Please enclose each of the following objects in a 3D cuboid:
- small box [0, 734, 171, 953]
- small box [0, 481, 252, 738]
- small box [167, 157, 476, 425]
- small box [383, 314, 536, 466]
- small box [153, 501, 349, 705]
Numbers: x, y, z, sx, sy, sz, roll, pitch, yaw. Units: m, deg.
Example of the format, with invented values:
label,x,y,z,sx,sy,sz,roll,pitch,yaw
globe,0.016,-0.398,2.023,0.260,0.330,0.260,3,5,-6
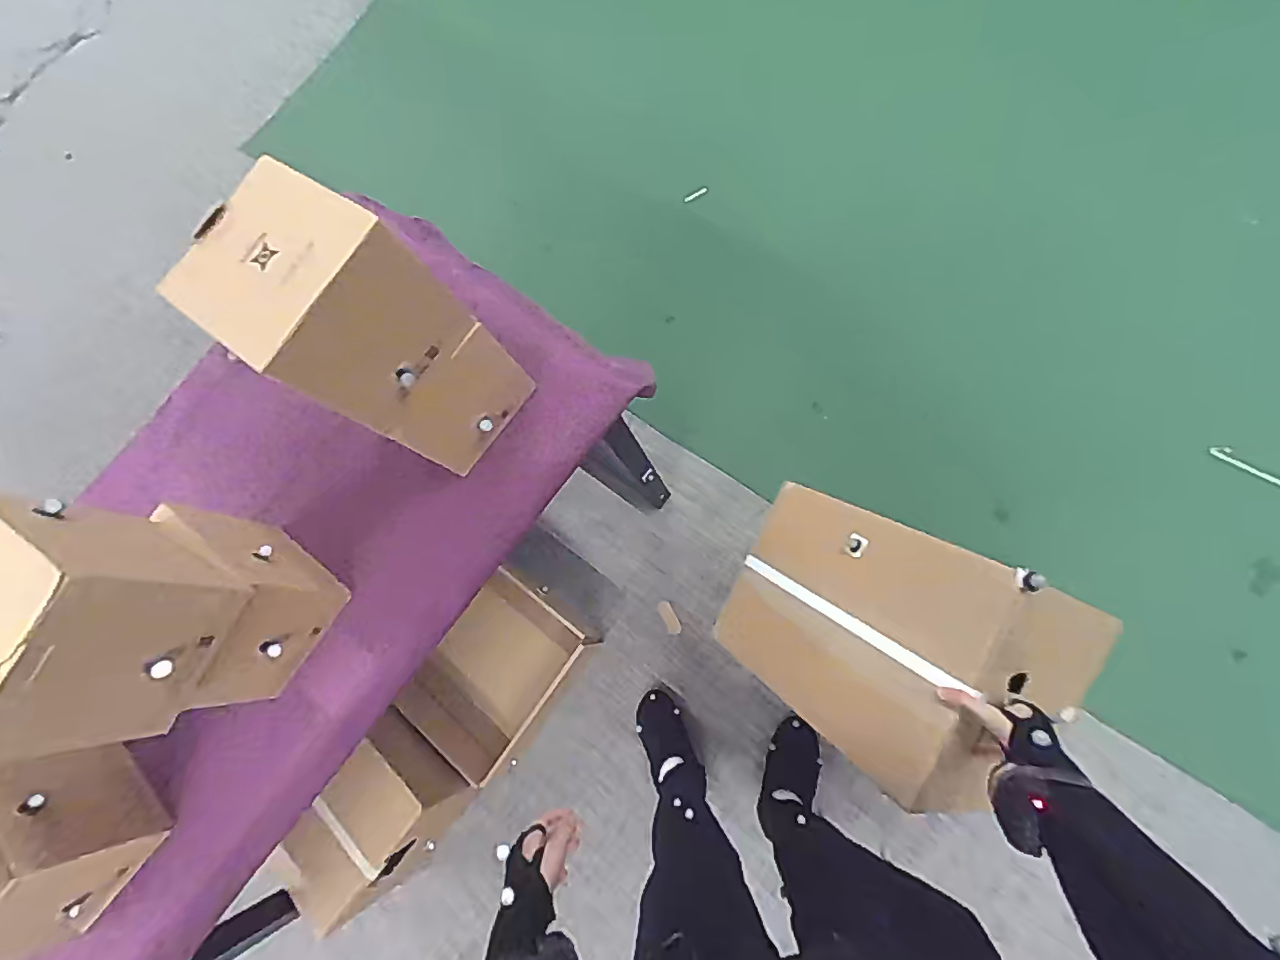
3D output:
label,x,y,z,sx,sy,sz,roll,pitch,yaw
small box,-0.733,0.432,0.647,0.179,0.176,0.168,38,84,18
small box,-0.536,0.124,0.517,0.179,0.176,0.168,25,82,18
small box,-0.311,-0.181,0.559,0.179,0.176,0.168,33,85,19
small box,-0.272,-0.141,0.711,0.179,0.176,0.168,36,85,19
small box,-0.516,0.152,0.680,0.179,0.176,0.168,32,83,19
